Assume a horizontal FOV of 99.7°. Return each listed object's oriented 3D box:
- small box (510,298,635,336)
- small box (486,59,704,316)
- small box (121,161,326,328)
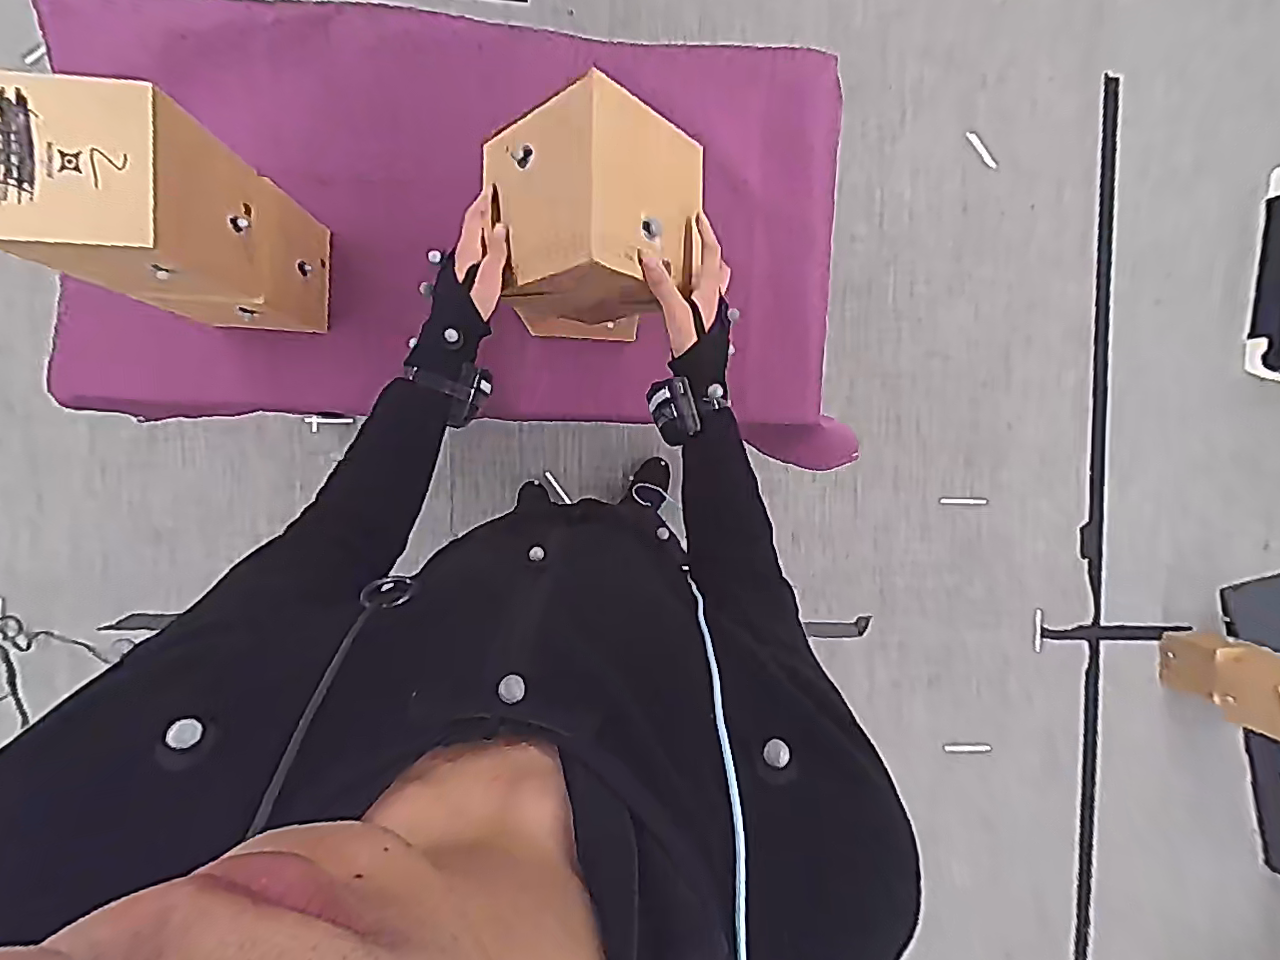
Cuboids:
[{"bbox_3d":[-0.091,-0.318,0.808,0.179,0.176,0.168,2,92,-4],"label":"small box"},{"bbox_3d":[-0.051,-0.280,0.575,0.168,0.179,0.176,-3,95,-46],"label":"small box"},{"bbox_3d":[-0.578,-0.322,0.773,0.179,0.176,0.168,3,92,-4],"label":"small box"}]
